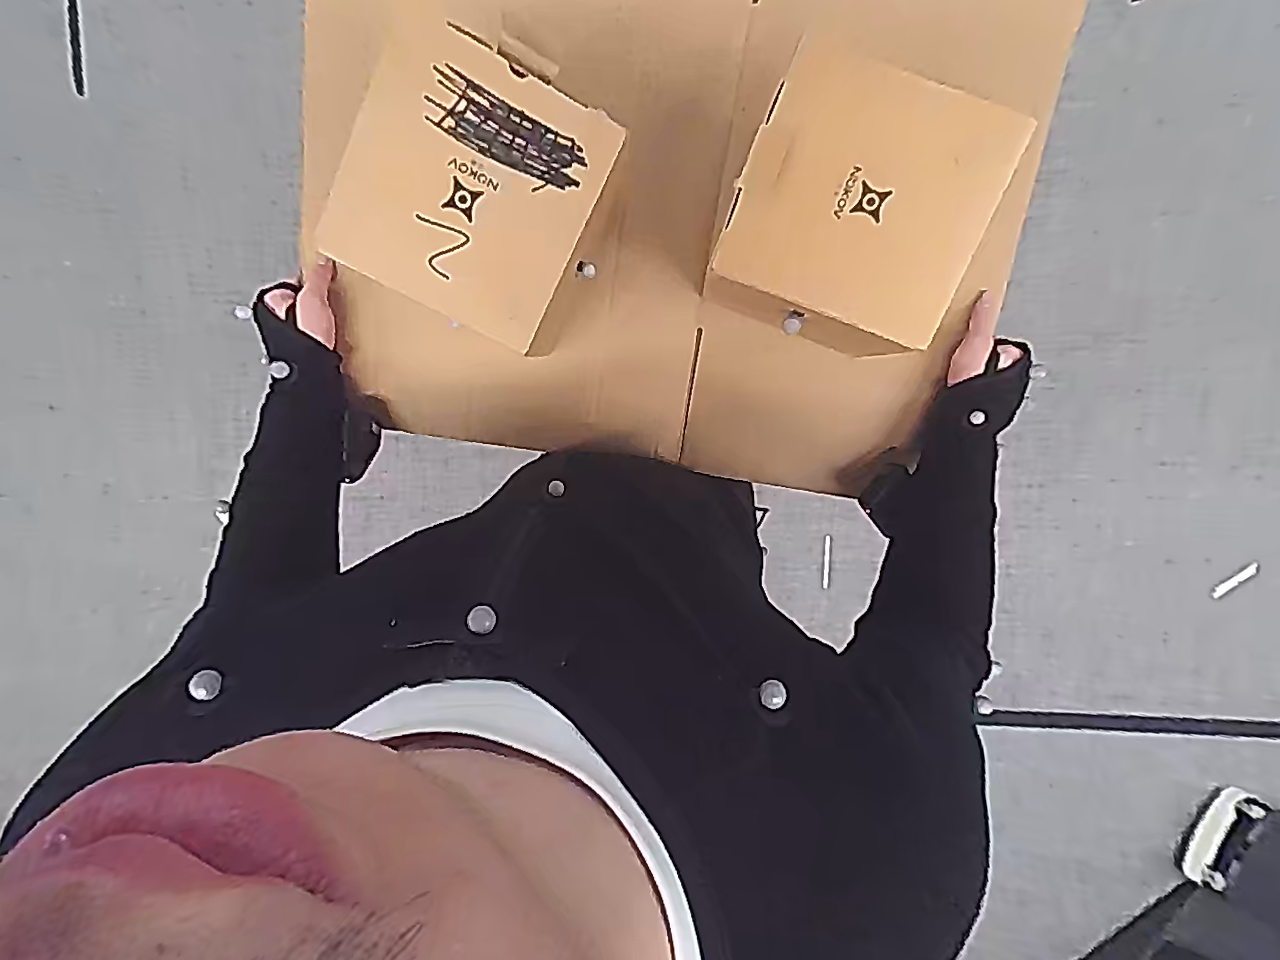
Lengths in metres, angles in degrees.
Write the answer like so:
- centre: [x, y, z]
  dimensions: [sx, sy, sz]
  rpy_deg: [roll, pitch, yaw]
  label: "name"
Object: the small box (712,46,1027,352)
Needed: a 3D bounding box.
- centre: [0.174, -0.222, 0.479]
  dimensions: [0.179, 0.176, 0.168]
  rpy_deg: [22, 103, 2]
  label: "small box"
